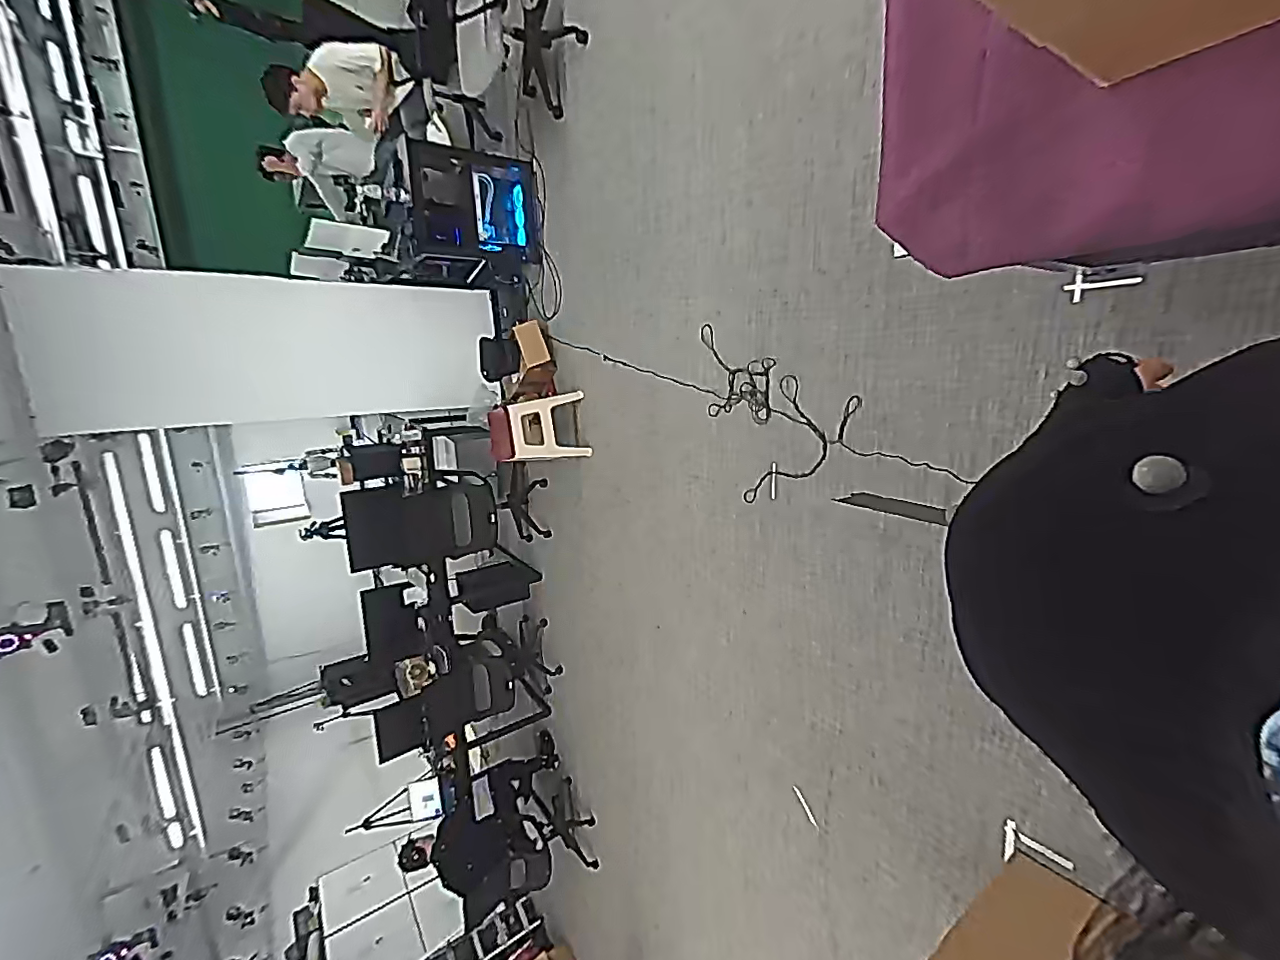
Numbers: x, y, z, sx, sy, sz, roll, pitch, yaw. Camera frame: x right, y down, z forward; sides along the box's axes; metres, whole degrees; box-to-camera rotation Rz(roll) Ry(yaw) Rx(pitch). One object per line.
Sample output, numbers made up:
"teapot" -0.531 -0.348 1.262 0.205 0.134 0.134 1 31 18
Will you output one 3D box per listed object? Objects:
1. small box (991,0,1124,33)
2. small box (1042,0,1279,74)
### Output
"small box" 0.355 -0.471 0.379 0.179 0.176 0.168 10 106 55
"small box" 0.489 -0.500 0.471 0.179 0.176 0.168 10 106 54
